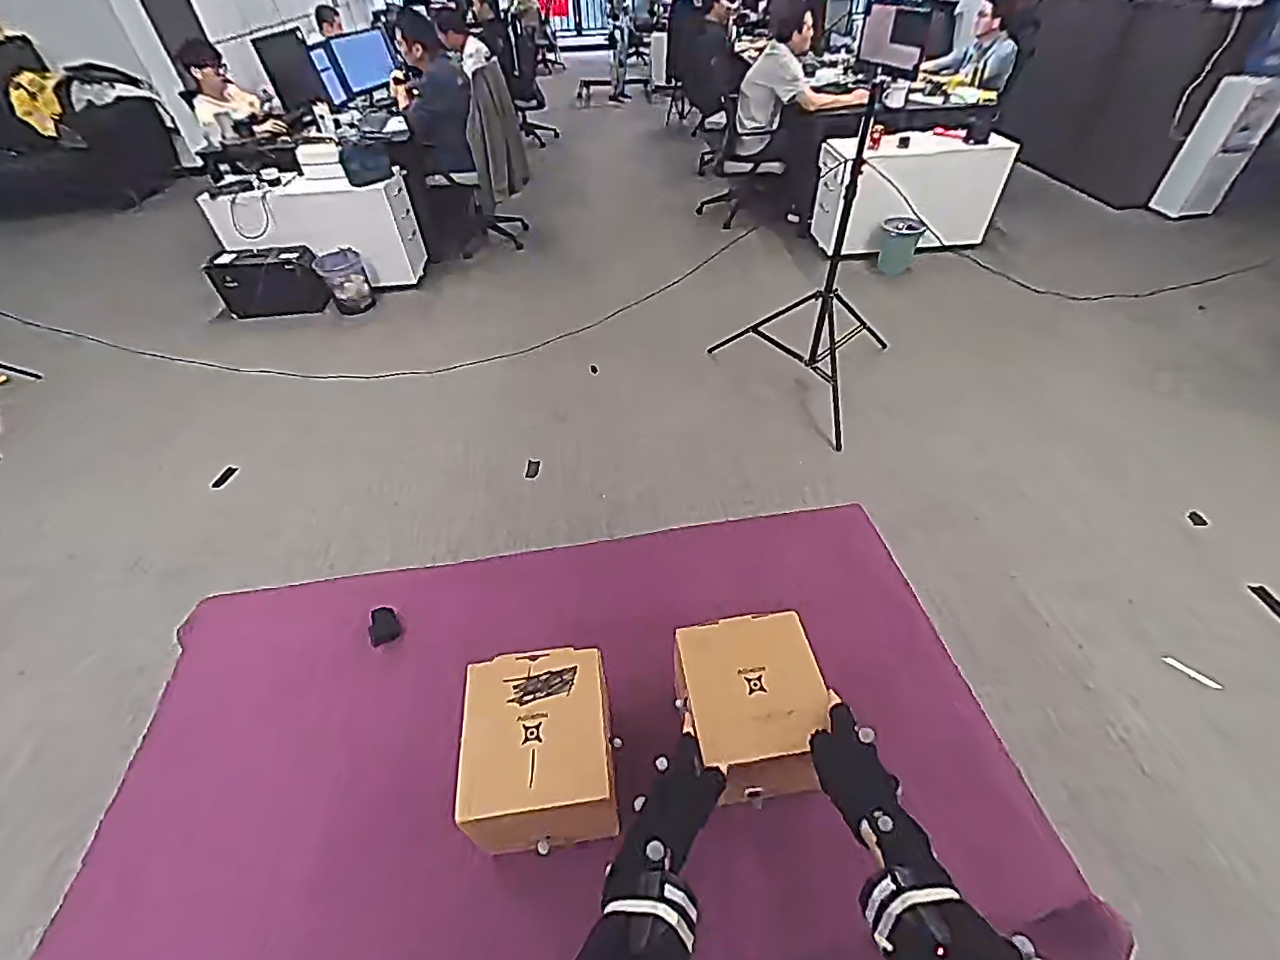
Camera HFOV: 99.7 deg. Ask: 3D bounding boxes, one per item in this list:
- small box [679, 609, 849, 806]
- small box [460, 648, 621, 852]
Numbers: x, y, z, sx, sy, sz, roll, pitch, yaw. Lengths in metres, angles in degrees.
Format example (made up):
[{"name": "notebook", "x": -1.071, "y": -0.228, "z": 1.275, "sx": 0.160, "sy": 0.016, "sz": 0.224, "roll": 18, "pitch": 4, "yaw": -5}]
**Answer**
[{"name": "small box", "x": 0.146, "y": 0.299, "z": 0.713, "sx": 0.168, "sy": 0.176, "sz": 0.179, "roll": -9, "pitch": 46, "yaw": -4}, {"name": "small box", "x": -0.116, "y": 0.340, "z": 0.684, "sx": 0.168, "sy": 0.176, "sz": 0.179, "roll": -7, "pitch": 46, "yaw": -4}]
